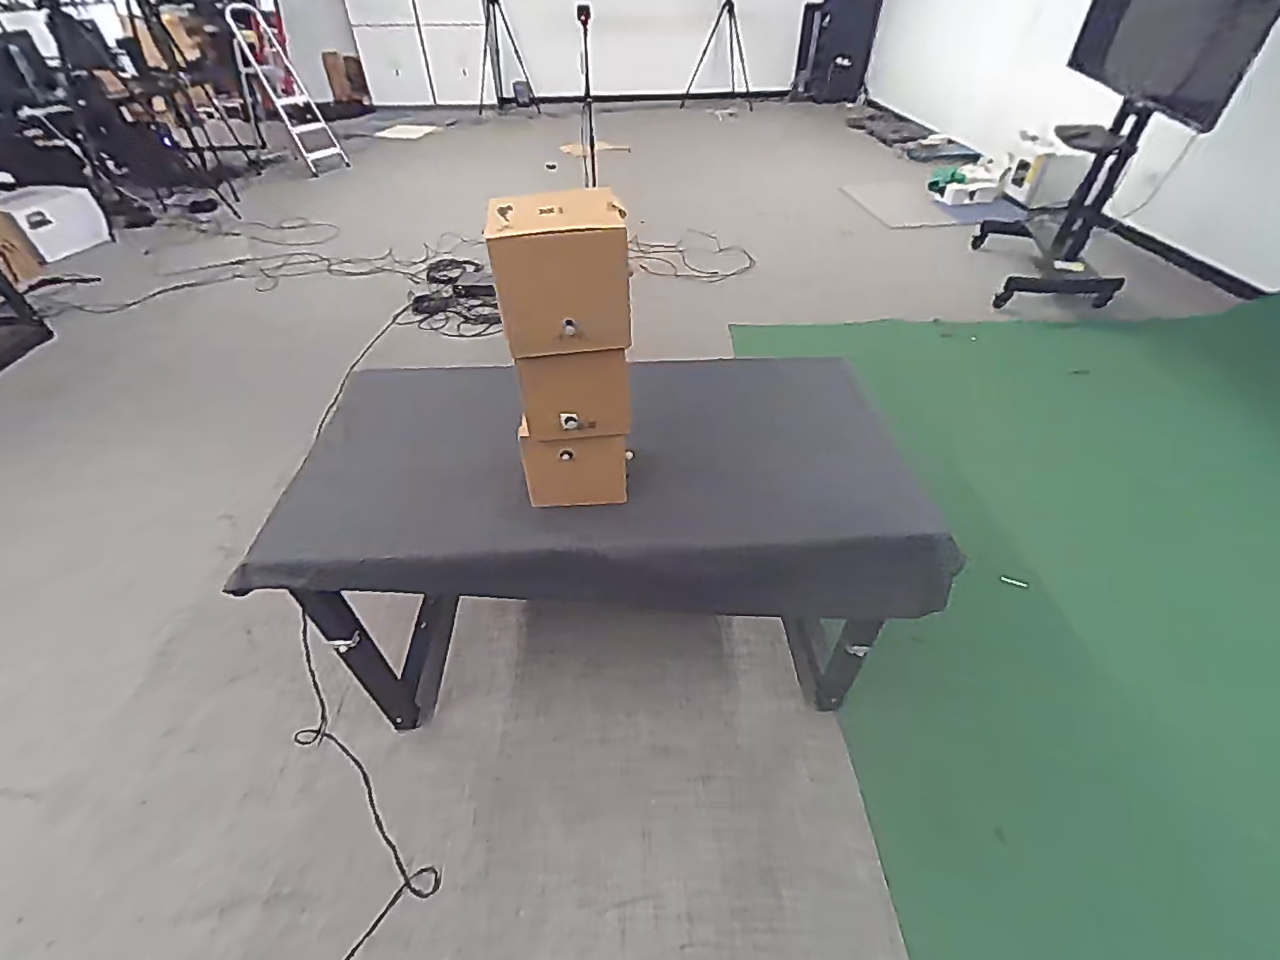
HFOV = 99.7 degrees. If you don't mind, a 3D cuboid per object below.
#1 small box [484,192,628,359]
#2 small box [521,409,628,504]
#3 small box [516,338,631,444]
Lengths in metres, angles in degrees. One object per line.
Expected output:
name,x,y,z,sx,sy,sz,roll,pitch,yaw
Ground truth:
small box,-0.111,-0.290,0.770,0.179,0.176,0.168,-7,43,-4
small box,-0.113,-0.067,1.008,0.179,0.176,0.168,-2,43,-2
small box,-0.107,-0.182,0.894,0.168,0.176,0.179,-7,44,-4
